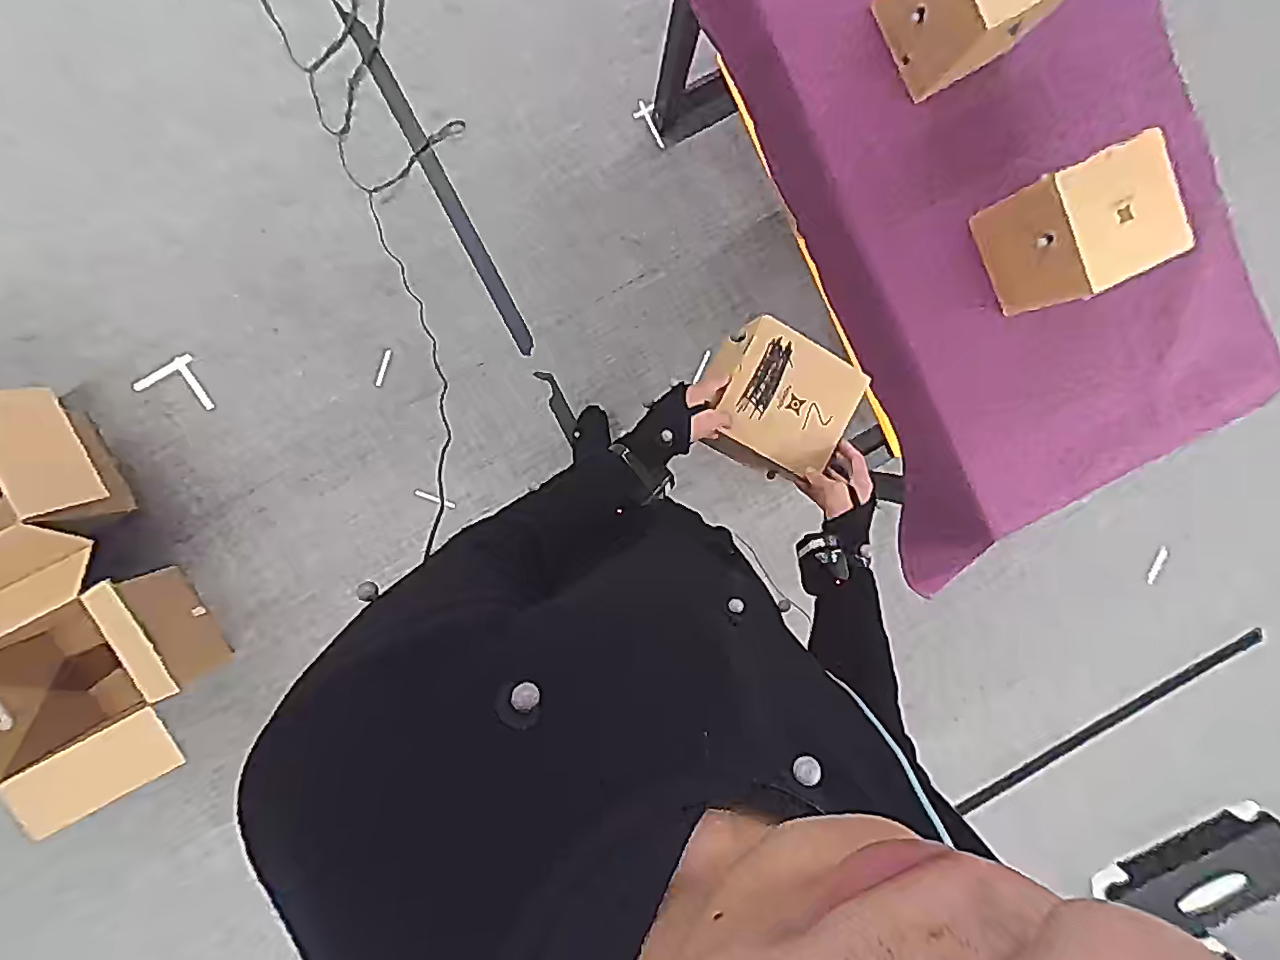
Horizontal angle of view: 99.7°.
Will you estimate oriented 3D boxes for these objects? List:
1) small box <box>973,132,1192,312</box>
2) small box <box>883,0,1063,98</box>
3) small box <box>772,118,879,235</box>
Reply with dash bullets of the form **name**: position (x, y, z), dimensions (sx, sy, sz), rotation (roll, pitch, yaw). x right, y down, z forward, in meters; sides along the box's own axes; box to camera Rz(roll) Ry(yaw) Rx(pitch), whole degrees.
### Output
- **small box**: position (0.657, -0.372, 0.822), dimensions (0.168, 0.176, 0.179), rotation (-26, 97, -2)
- **small box**: position (0.478, -0.697, 0.768), dimensions (0.179, 0.176, 0.168), rotation (-30, 98, -2)
- **small box**: position (0.465, -0.765, 1.381), dimensions (0.168, 0.176, 0.179), rotation (-31, 100, -1)
